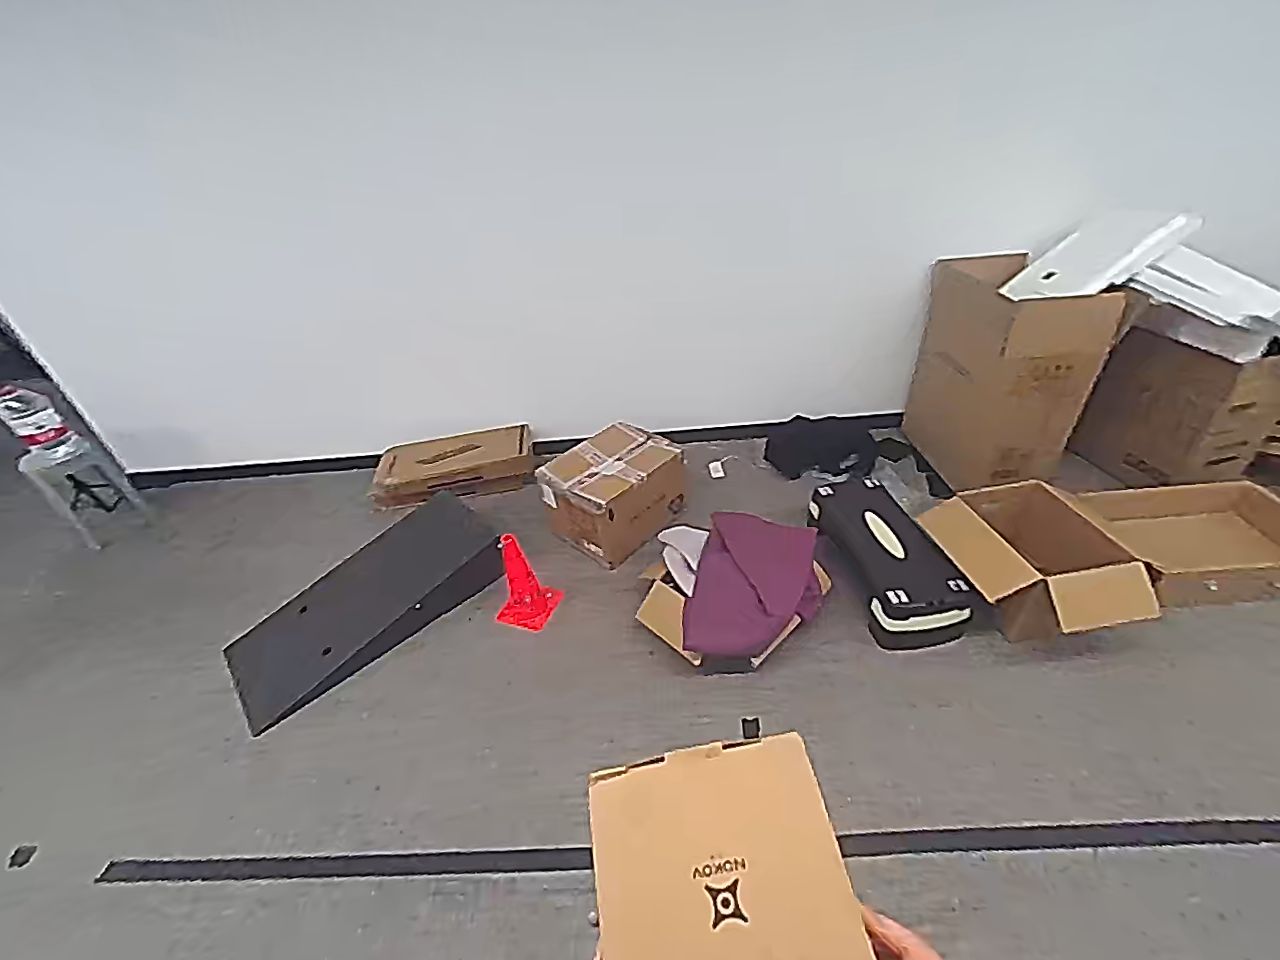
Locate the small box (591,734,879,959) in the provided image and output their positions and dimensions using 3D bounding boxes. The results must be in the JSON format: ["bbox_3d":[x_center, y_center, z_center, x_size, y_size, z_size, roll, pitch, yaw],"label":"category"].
[{"bbox_3d":[0.061,0.318,0.405,0.168,0.176,0.179,-11,50,-2],"label":"small box"}]
